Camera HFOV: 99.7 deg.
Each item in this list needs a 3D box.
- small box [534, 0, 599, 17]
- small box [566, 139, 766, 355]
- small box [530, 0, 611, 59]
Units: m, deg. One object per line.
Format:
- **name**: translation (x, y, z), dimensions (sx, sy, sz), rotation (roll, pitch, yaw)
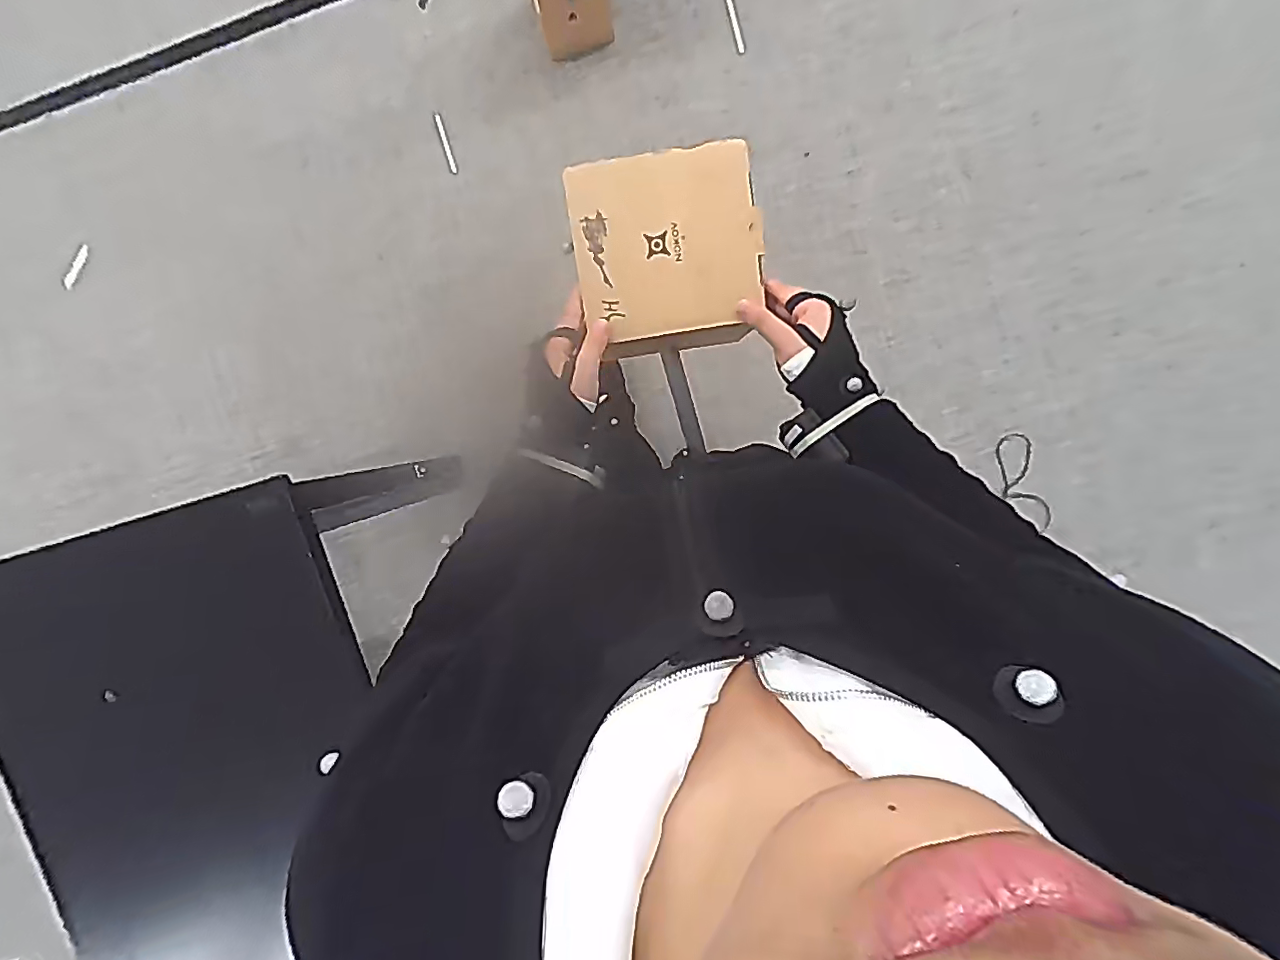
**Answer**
- **small box**: translation (-0.176, -1.144, 1.138), dimensions (0.168, 0.176, 0.179), rotation (-16, 96, 3)
- **small box**: translation (0.025, -0.236, 0.590), dimensions (0.179, 0.176, 0.168), rotation (-8, 97, 1)
- **small box**: translation (-0.177, -1.167, 1.301), dimensions (0.179, 0.176, 0.168), rotation (-16, 96, 3)
